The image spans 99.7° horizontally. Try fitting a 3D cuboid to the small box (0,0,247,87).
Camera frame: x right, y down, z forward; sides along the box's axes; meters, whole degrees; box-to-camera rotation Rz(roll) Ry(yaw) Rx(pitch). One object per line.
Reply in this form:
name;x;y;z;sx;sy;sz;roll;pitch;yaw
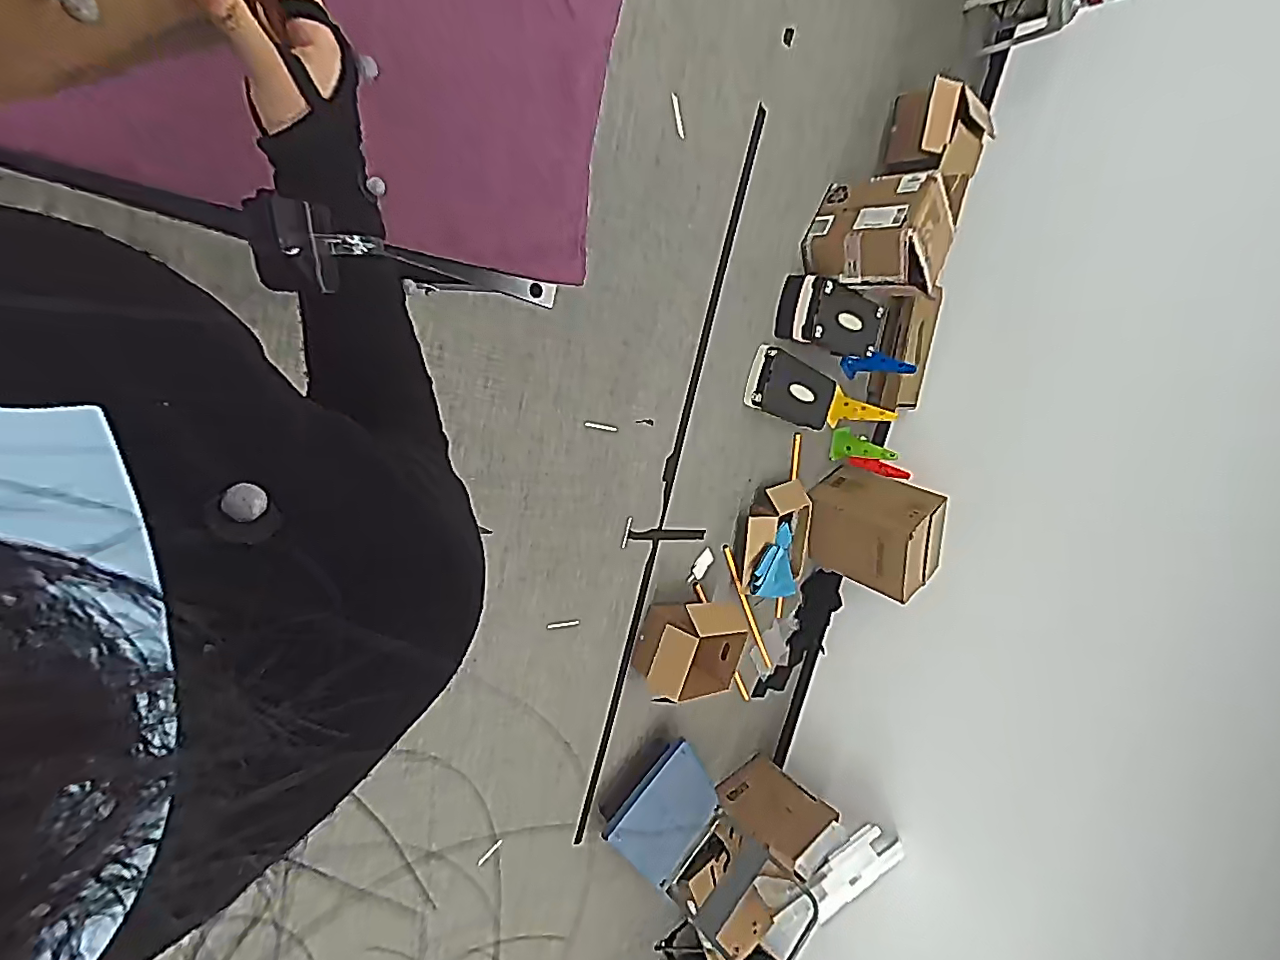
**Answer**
small box;-0.329;-0.331;0.267;0.179;0.176;0.168;-34;122;-19
